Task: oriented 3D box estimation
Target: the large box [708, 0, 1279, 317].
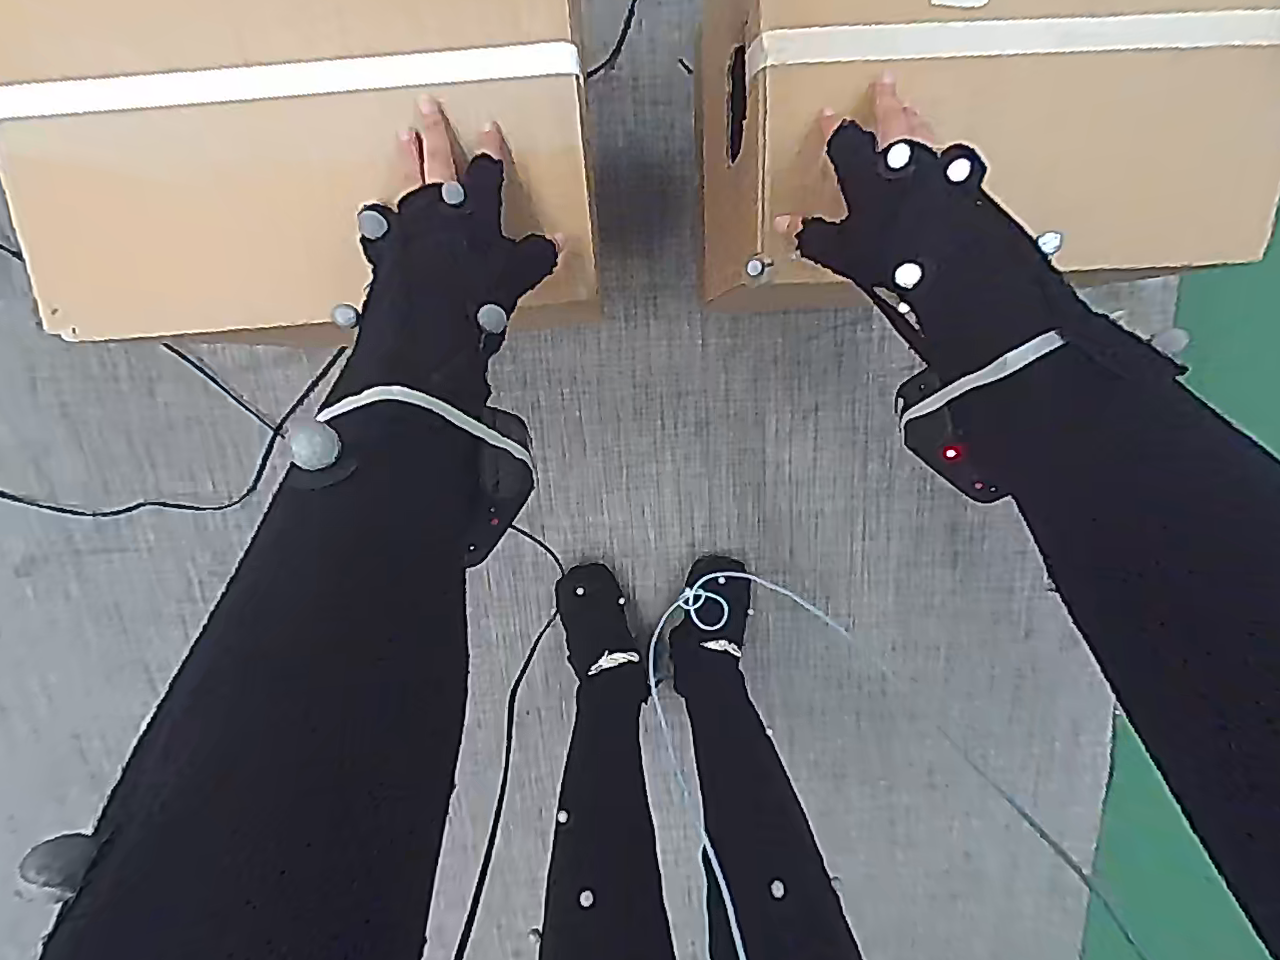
[{"bbox_3d":[0.292,-0.343,0.562,0.408,0.320,0.320,-2,103,-1],"label":"large box"}]
